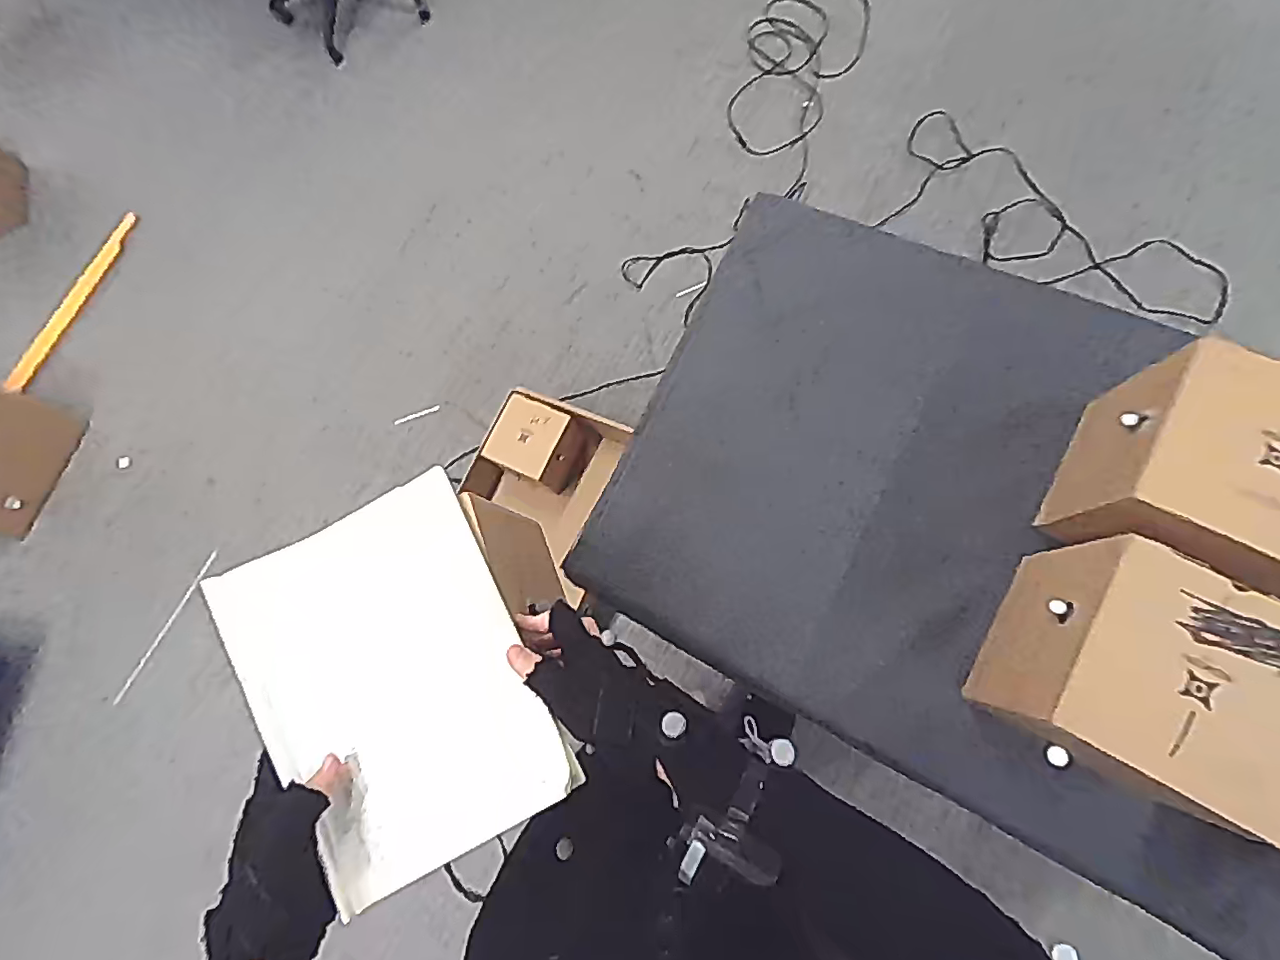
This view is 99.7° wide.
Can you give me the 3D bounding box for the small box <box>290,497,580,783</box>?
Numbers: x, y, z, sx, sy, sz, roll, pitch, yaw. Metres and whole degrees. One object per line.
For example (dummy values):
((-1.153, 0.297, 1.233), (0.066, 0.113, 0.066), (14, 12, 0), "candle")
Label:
((-0.173, 0.137, 0.500), (0.168, 0.176, 0.179), (-25, 74, 3), "small box")
